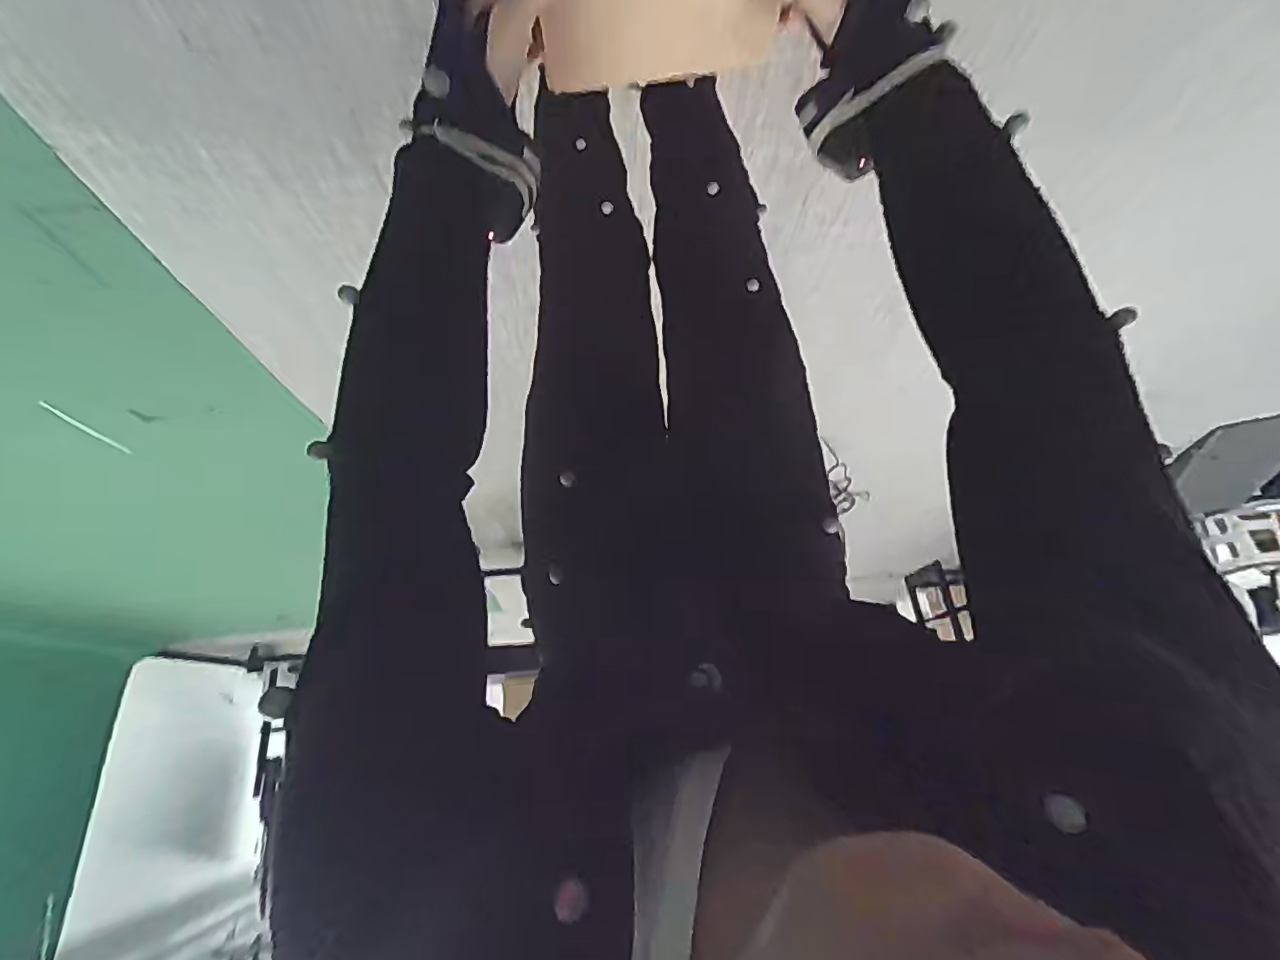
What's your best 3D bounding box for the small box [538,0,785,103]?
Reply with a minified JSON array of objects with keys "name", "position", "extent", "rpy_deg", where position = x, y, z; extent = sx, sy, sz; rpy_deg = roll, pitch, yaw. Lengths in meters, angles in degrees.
[{"name":"small box","position":[0.004,-0.414,0.383],"extent":[0.179,0.176,0.168],"rpy_deg":[-9,158,-1]}]
